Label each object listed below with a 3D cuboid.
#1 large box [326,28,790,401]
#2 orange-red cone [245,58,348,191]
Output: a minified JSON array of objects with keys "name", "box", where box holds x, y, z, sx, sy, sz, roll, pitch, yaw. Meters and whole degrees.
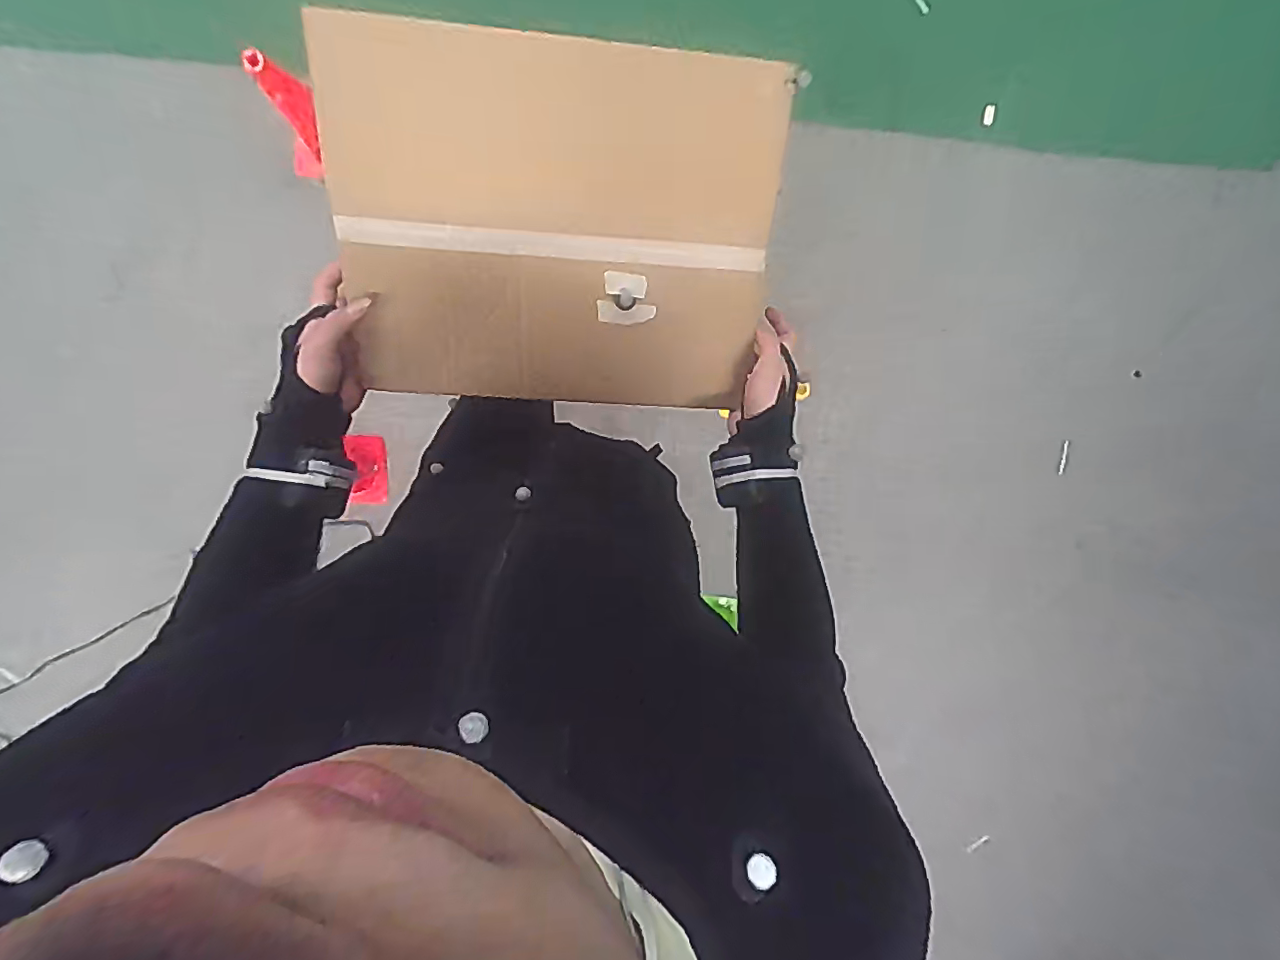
[{"name":"large box","box":[-0.084,-0.293,0.658,0.408,0.320,0.320,2,117,-6]},{"name":"orange-red cone","box":[-0.769,-0.832,1.231,0.199,0.360,0.198,10,98,-5]}]
